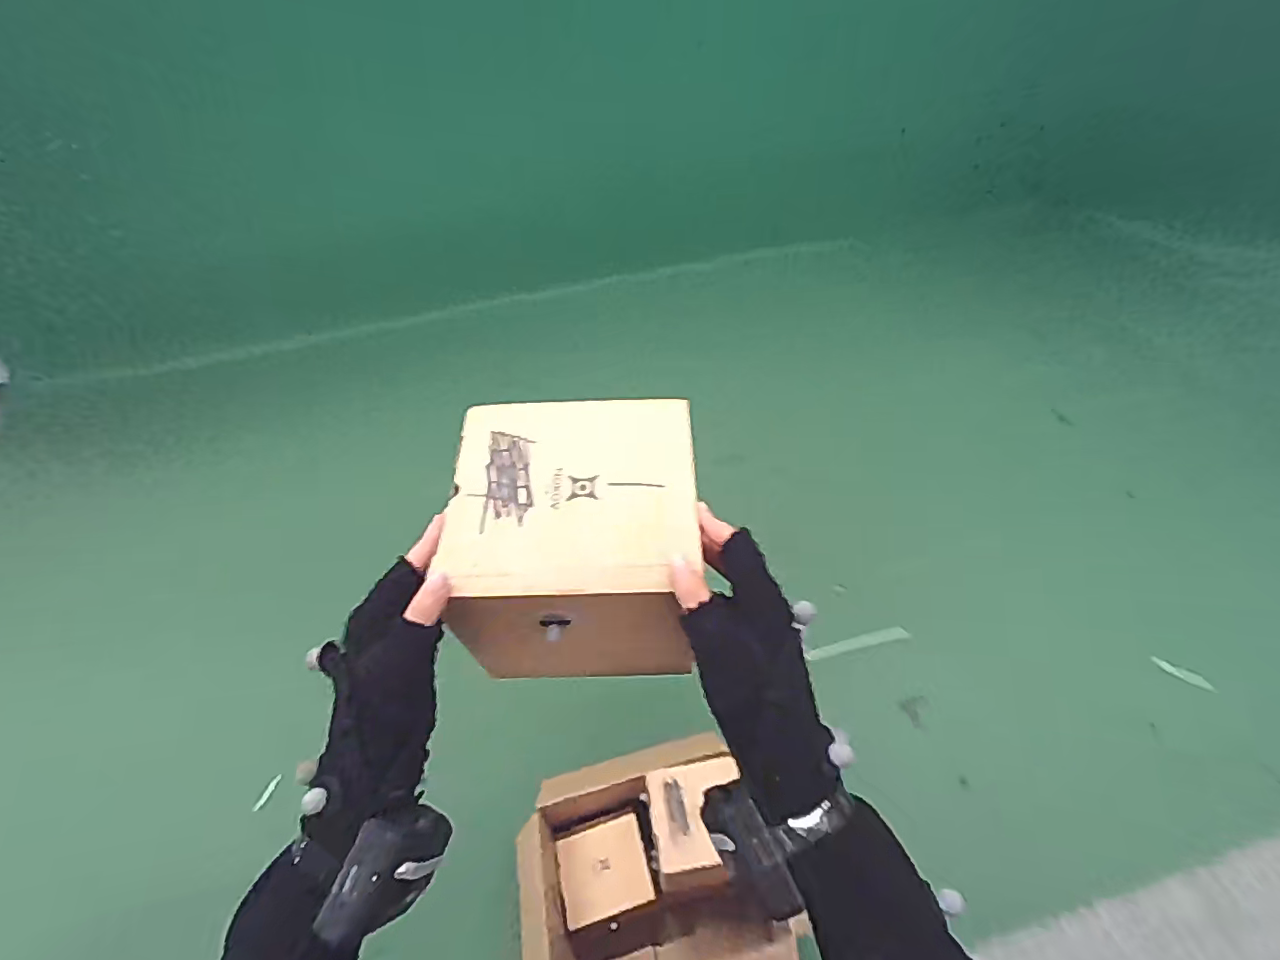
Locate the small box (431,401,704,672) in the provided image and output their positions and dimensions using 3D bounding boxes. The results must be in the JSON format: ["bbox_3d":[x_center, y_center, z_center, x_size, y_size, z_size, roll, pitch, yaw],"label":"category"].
[{"bbox_3d":[-0.042,0.052,0.447,0.179,0.176,0.168,0,54,1],"label":"small box"}]
